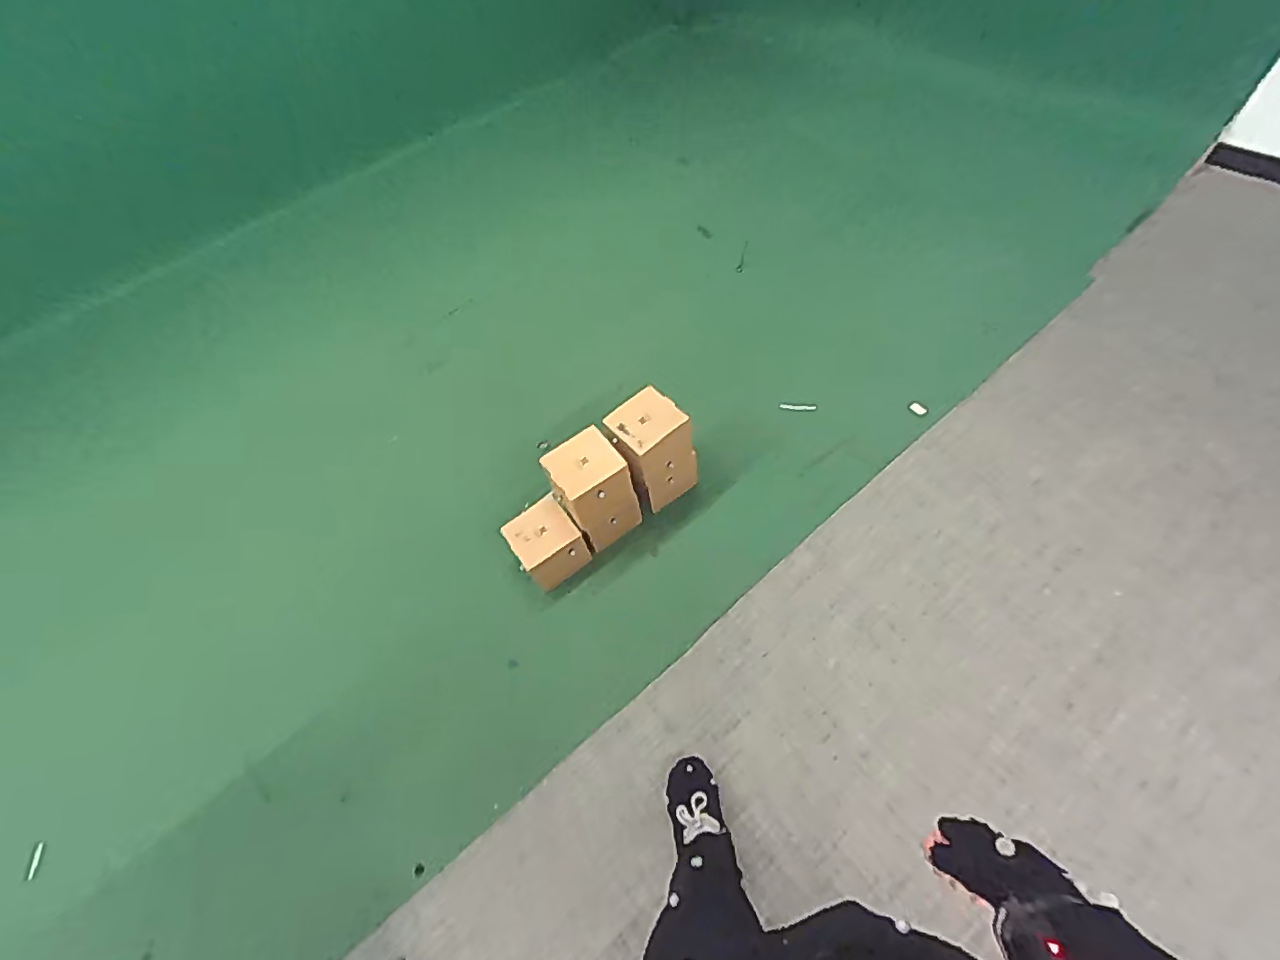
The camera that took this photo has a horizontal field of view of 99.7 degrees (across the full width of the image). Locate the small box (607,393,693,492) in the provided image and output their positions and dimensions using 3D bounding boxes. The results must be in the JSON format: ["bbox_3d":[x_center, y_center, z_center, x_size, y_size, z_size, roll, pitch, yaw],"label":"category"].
[{"bbox_3d":[0.030,-0.102,1.510,0.179,0.176,0.168,-37,60,-16],"label":"small box"}]

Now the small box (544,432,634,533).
[{"bbox_3d":[-0.130,0.011,1.464,0.179,0.176,0.168,-34,60,-12],"label":"small box"}]
